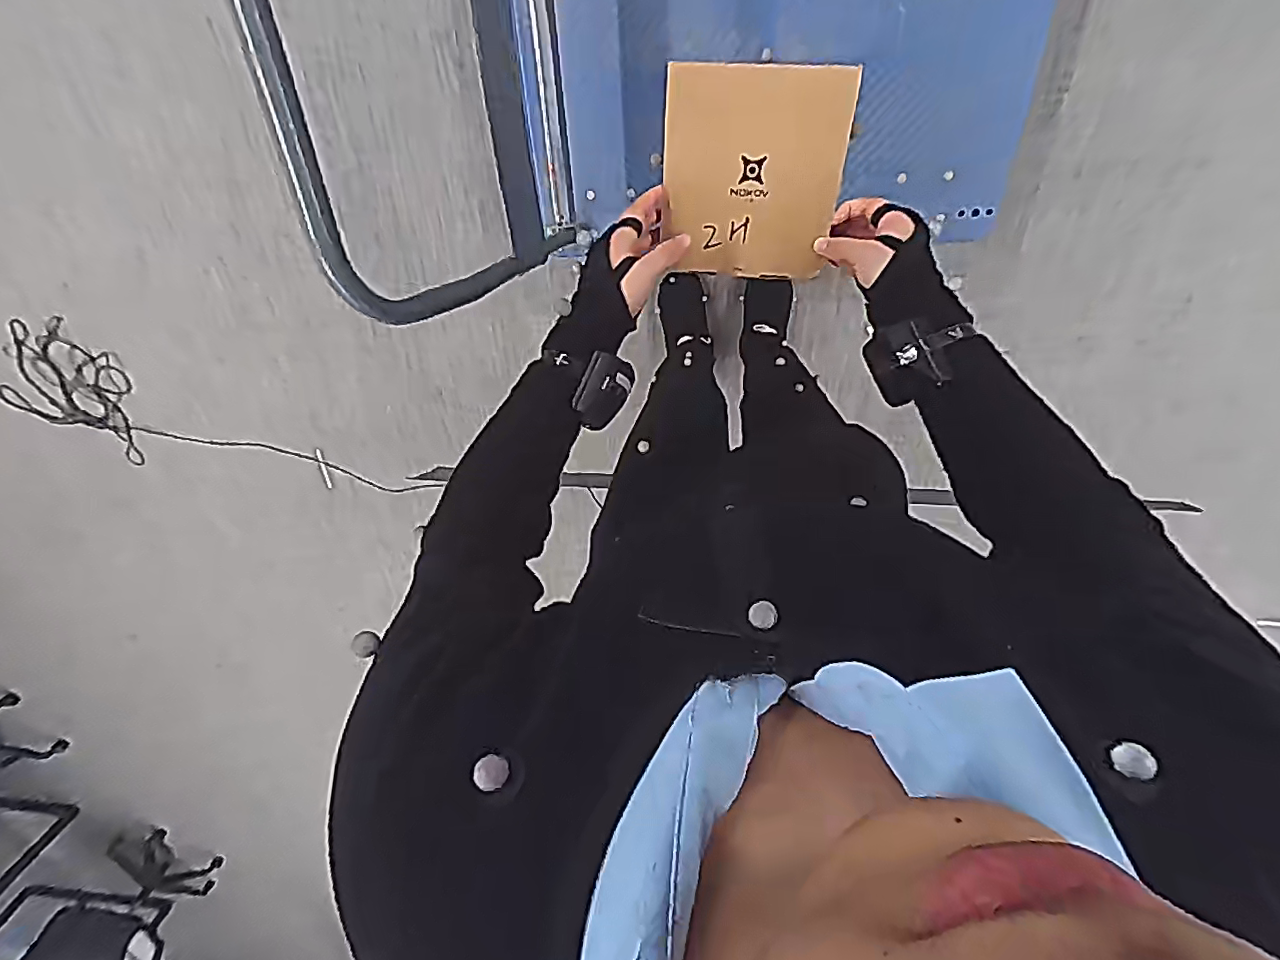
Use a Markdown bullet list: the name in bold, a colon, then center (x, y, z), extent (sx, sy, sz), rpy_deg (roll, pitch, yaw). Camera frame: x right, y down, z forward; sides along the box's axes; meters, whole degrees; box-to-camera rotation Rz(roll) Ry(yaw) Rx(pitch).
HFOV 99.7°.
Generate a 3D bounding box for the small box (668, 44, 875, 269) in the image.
- **small box**: center (0.121, -0.336, 0.566), extent (0.168, 0.176, 0.179), rpy_deg (5, 126, 5)

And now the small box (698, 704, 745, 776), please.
- **small box**: center (0.304, 0.972, 2.025), extent (0.168, 0.176, 0.179), rpy_deg (0, 120, 6)
